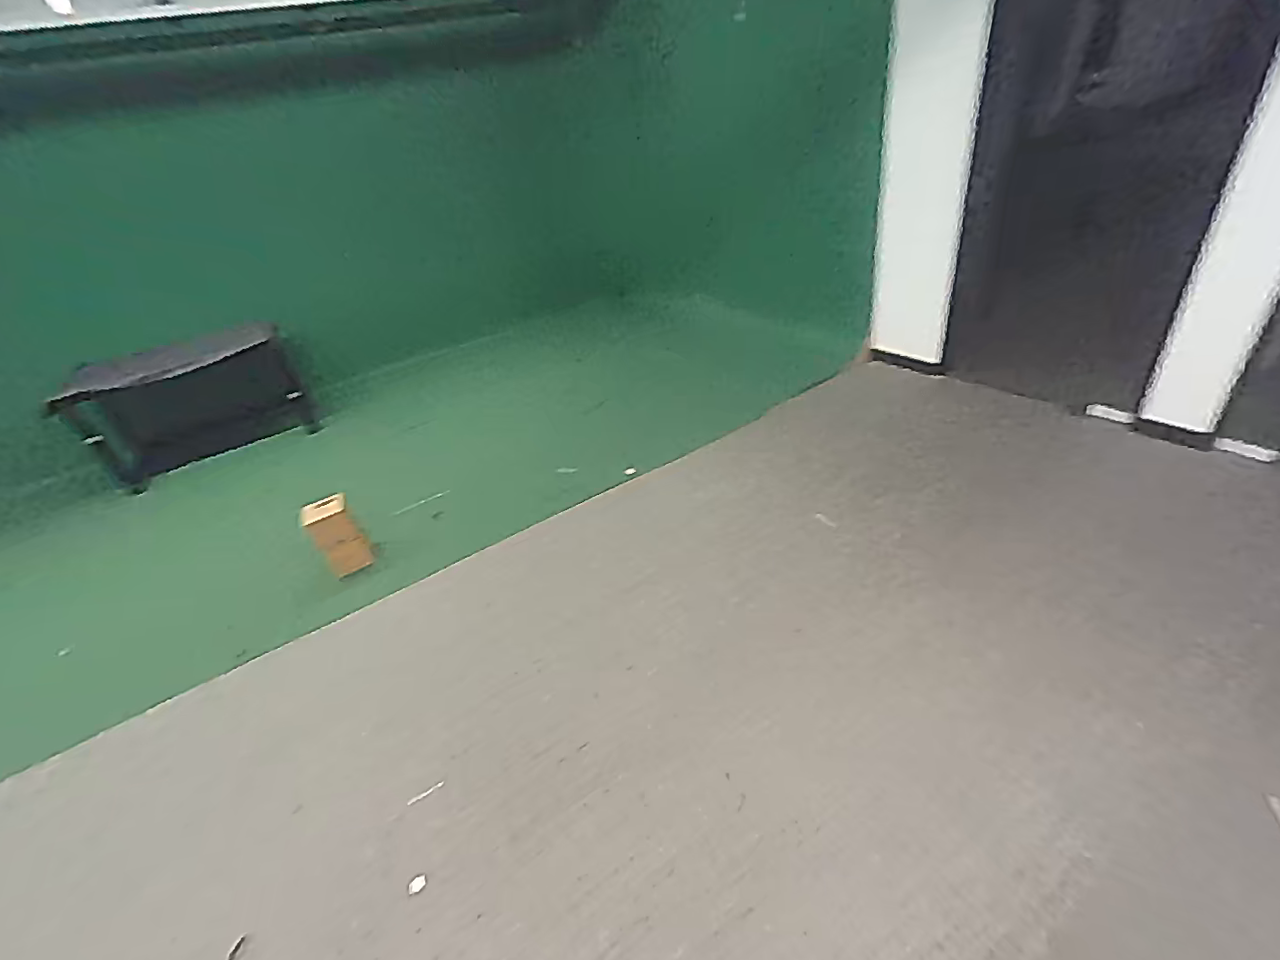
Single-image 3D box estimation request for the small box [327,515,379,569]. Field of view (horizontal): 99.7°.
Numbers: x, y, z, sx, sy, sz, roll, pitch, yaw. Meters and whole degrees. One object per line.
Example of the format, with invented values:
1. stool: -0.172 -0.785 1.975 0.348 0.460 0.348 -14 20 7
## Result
1. small box: -1.374 0.305 2.594 0.168 0.176 0.179 -25 36 -18
